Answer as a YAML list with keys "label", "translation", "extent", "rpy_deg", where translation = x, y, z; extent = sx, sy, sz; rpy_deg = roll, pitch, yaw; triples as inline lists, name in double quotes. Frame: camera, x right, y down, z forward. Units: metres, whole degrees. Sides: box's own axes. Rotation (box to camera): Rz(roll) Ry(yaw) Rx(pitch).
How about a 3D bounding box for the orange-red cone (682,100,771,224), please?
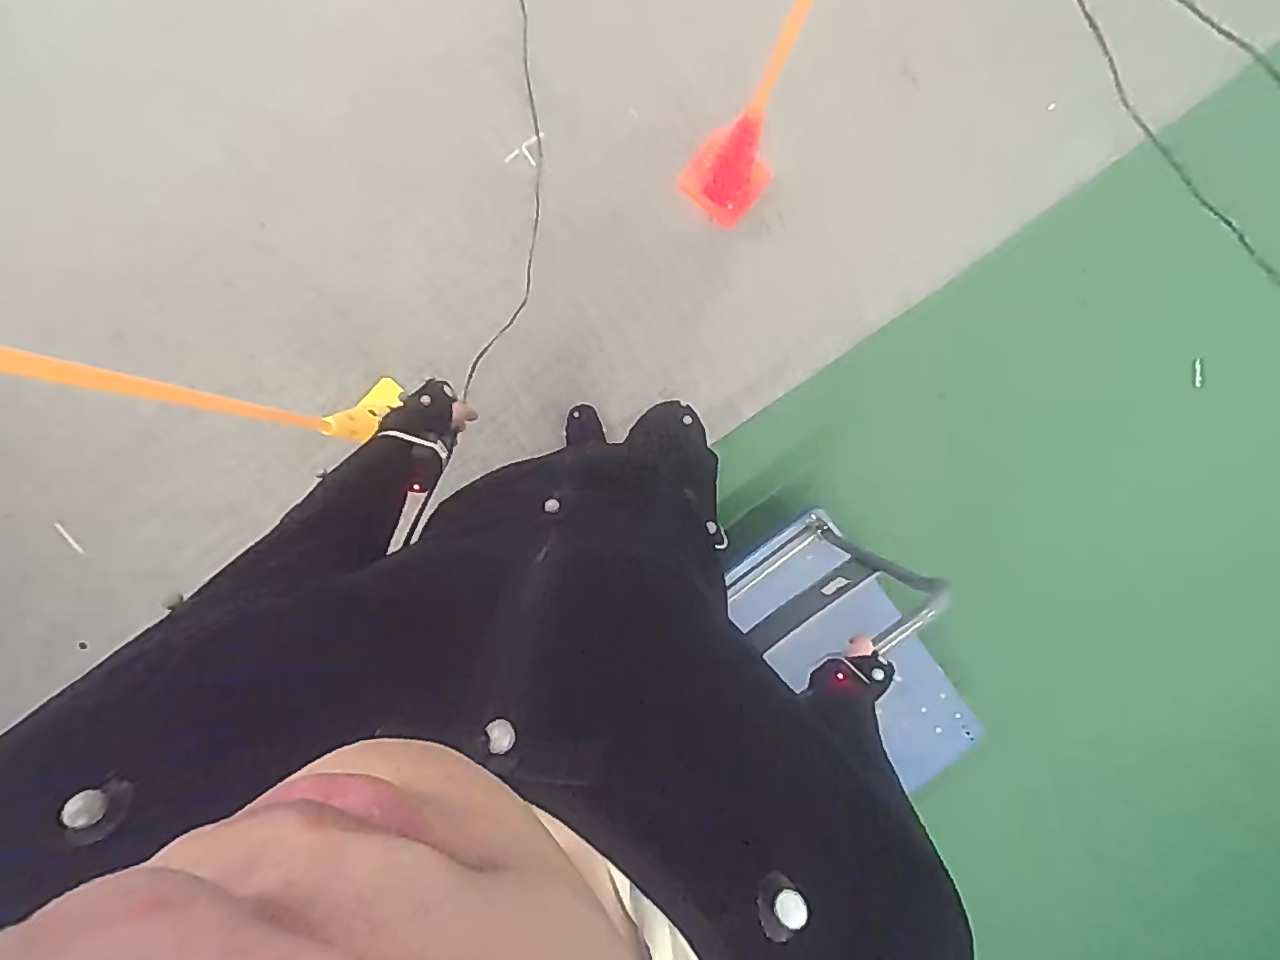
- label: "orange-red cone"
  translation: [0.252, -0.830, 1.347]
  extent: [0.198, 0.360, 0.199]
  rpy_deg: [40, 93, -7]
